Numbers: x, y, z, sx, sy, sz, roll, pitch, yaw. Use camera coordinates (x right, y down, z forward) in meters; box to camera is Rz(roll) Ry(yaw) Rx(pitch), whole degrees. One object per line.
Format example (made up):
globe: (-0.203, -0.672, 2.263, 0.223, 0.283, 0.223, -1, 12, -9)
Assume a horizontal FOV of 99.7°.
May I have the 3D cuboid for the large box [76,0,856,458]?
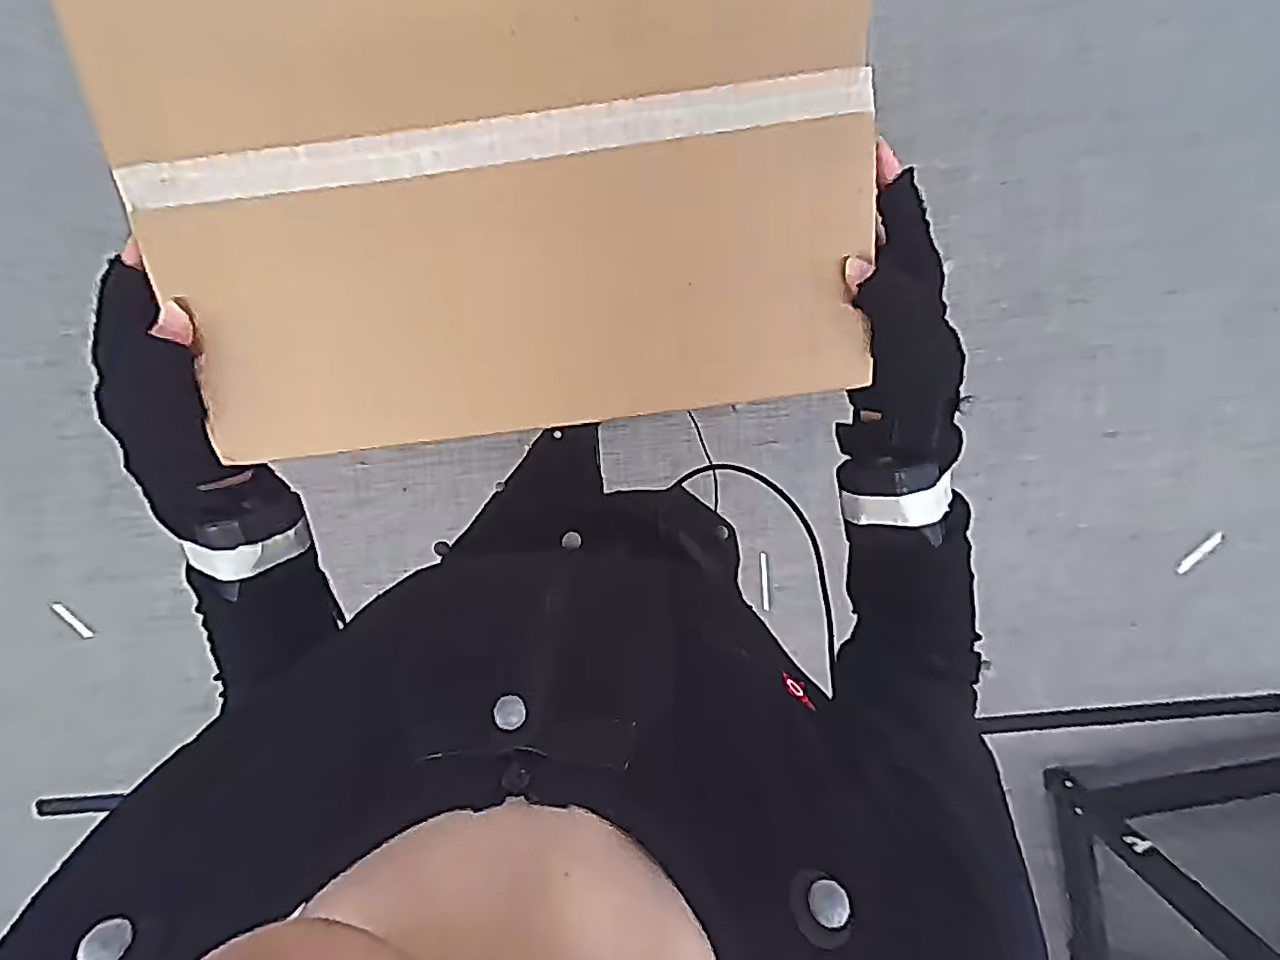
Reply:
large box: (-0.082, -0.229, 0.442, 0.408, 0.320, 0.320, -7, 106, 1)
